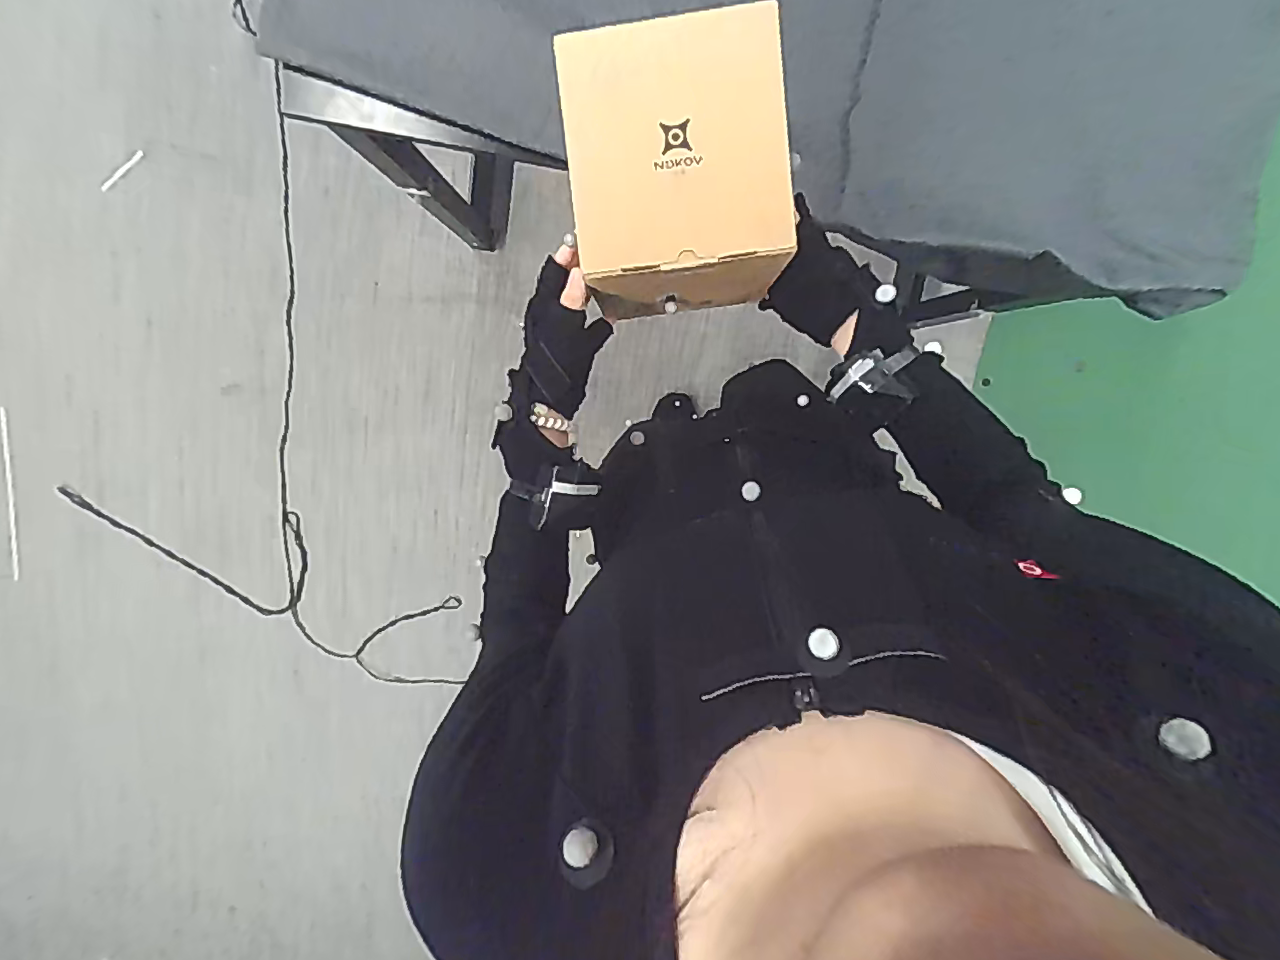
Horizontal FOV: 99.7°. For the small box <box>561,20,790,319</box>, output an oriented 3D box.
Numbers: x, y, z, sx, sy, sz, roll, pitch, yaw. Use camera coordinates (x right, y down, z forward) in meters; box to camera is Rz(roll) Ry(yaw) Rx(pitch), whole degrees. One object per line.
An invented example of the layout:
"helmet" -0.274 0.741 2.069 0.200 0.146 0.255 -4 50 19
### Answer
"small box" 0.031 -0.260 0.496 0.168 0.176 0.179 -6 96 4
